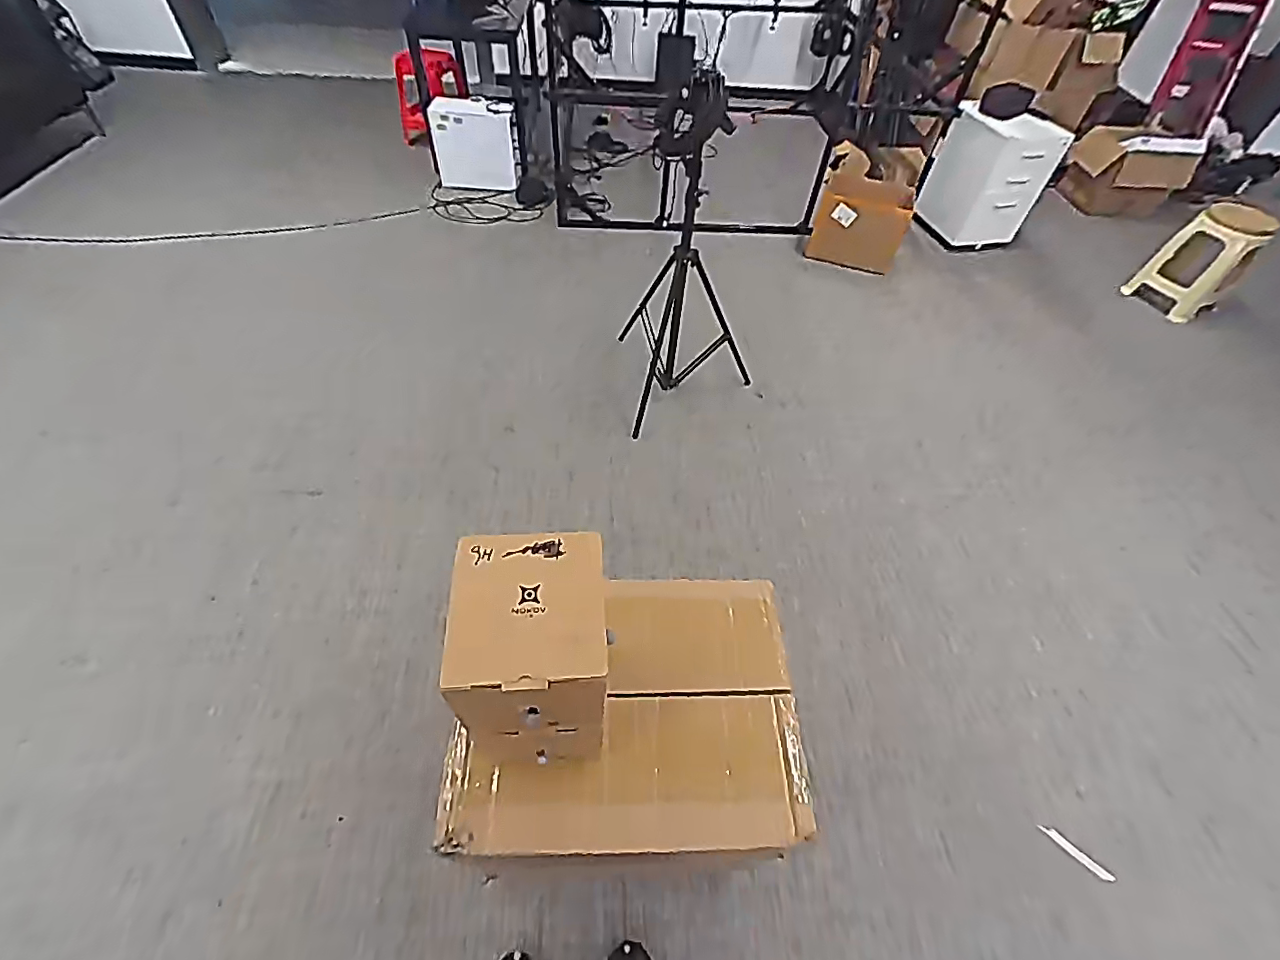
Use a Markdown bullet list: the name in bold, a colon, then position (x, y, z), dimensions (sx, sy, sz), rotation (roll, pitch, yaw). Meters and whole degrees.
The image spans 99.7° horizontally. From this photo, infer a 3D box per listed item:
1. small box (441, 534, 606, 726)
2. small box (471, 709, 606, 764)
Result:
- **small box**: position (-0.125, 0.184, 0.645), dimensions (0.168, 0.176, 0.179), rotation (-2, 52, -7)
- **small box**: position (-0.135, 0.288, 0.772), dimensions (0.168, 0.176, 0.179), rotation (0, 52, -5)
